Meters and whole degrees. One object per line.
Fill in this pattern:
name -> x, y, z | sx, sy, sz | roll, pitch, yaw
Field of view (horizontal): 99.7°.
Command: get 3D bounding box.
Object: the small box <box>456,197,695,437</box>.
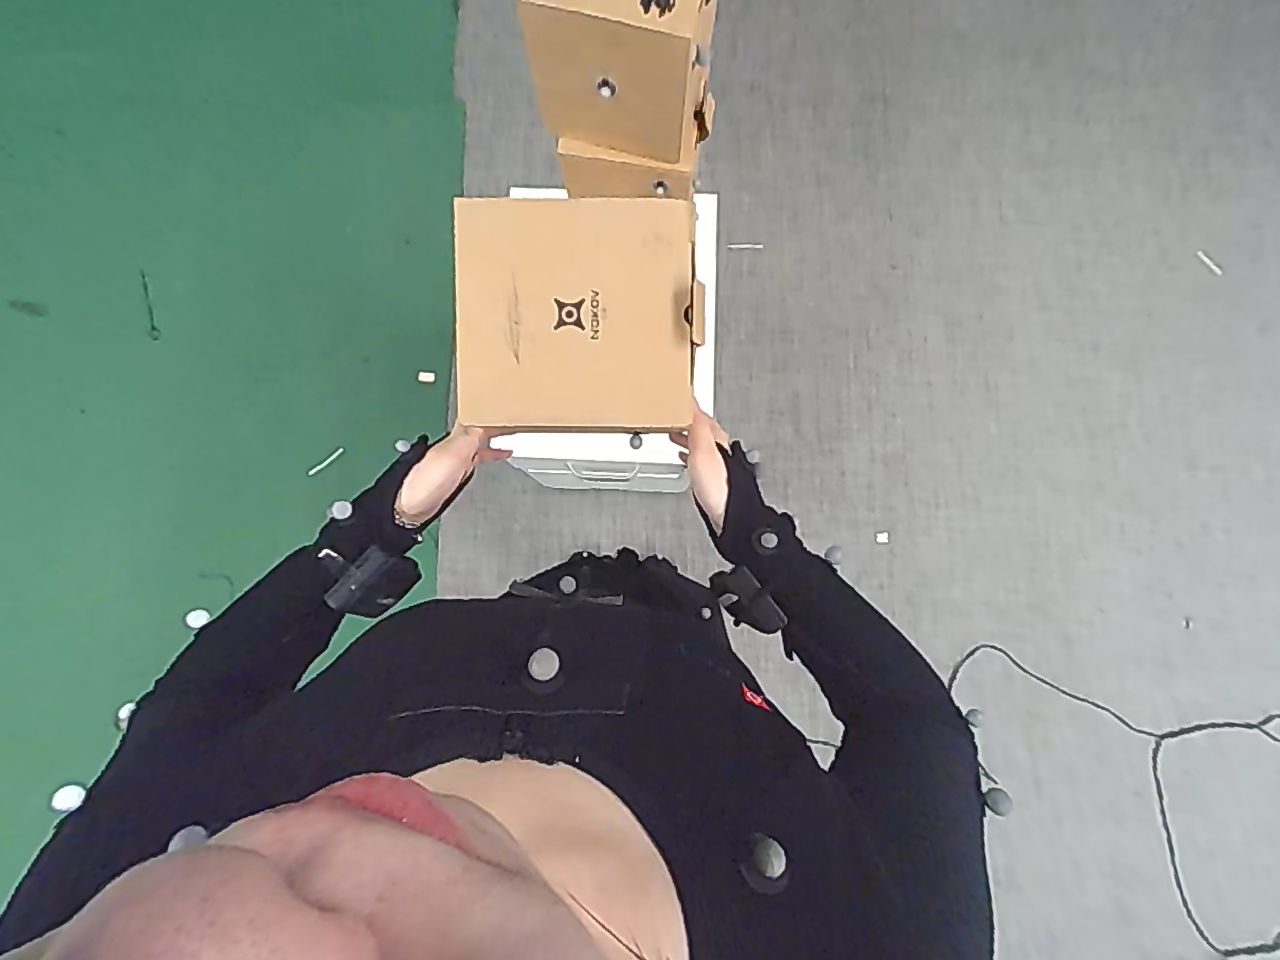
small box -> -0.047, -0.125, 0.474 | 0.179, 0.176, 0.168 | 0, 92, 1

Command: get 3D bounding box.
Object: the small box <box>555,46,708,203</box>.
small box -> -0.010, -0.462, 0.769 | 0.179, 0.176, 0.168 | 9, 82, 1
